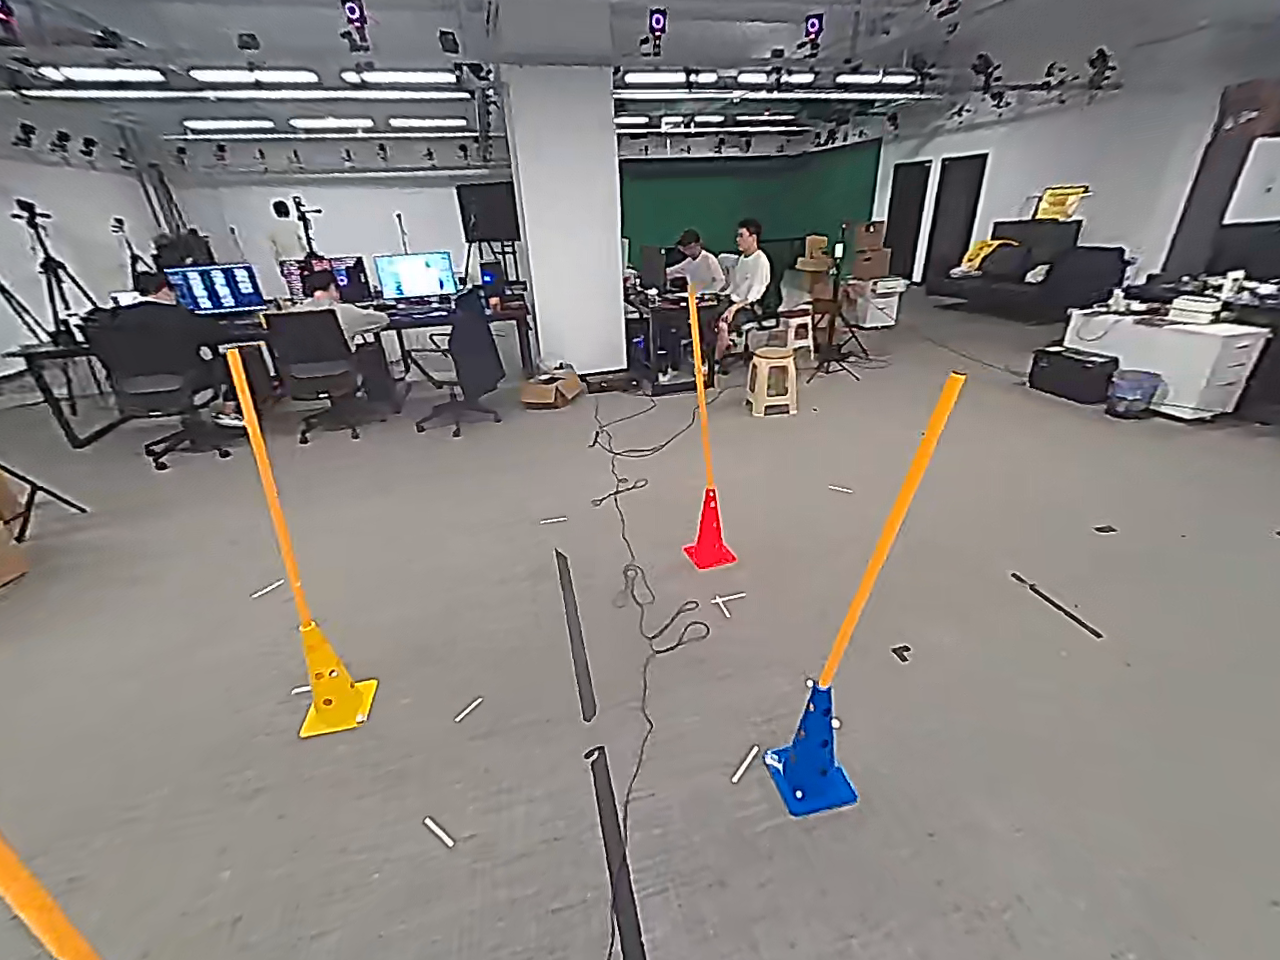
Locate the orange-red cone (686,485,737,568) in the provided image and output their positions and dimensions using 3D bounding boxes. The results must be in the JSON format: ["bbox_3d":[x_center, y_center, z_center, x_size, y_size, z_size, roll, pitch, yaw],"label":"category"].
[{"bbox_3d":[0.321,0.191,2.445,0.199,0.360,0.198,-12,27,-15],"label":"orange-red cone"}]

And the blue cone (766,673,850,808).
[{"bbox_3d":[0.467,0.681,1.459,0.193,0.380,0.192,-7,26,-9],"label":"blue cone"}]
